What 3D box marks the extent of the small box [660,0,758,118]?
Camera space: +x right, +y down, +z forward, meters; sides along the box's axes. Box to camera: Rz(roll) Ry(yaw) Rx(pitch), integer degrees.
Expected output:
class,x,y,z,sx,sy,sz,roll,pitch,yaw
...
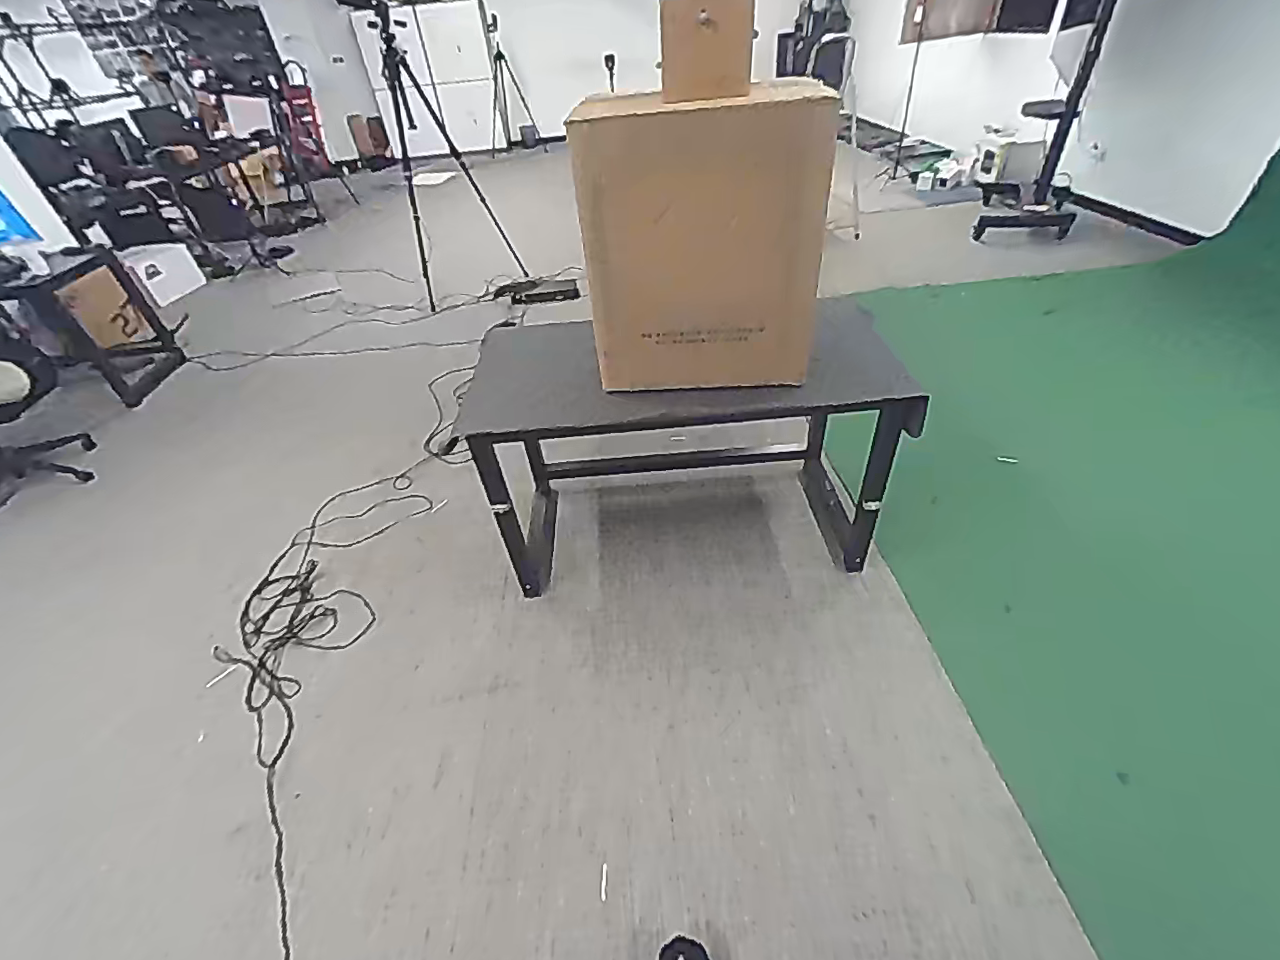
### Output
class,x,y,z,sx,sy,sz,roll,pitch,yaw
small box,0.132,-0.841,1.078,0.179,0.176,0.168,-2,42,5
